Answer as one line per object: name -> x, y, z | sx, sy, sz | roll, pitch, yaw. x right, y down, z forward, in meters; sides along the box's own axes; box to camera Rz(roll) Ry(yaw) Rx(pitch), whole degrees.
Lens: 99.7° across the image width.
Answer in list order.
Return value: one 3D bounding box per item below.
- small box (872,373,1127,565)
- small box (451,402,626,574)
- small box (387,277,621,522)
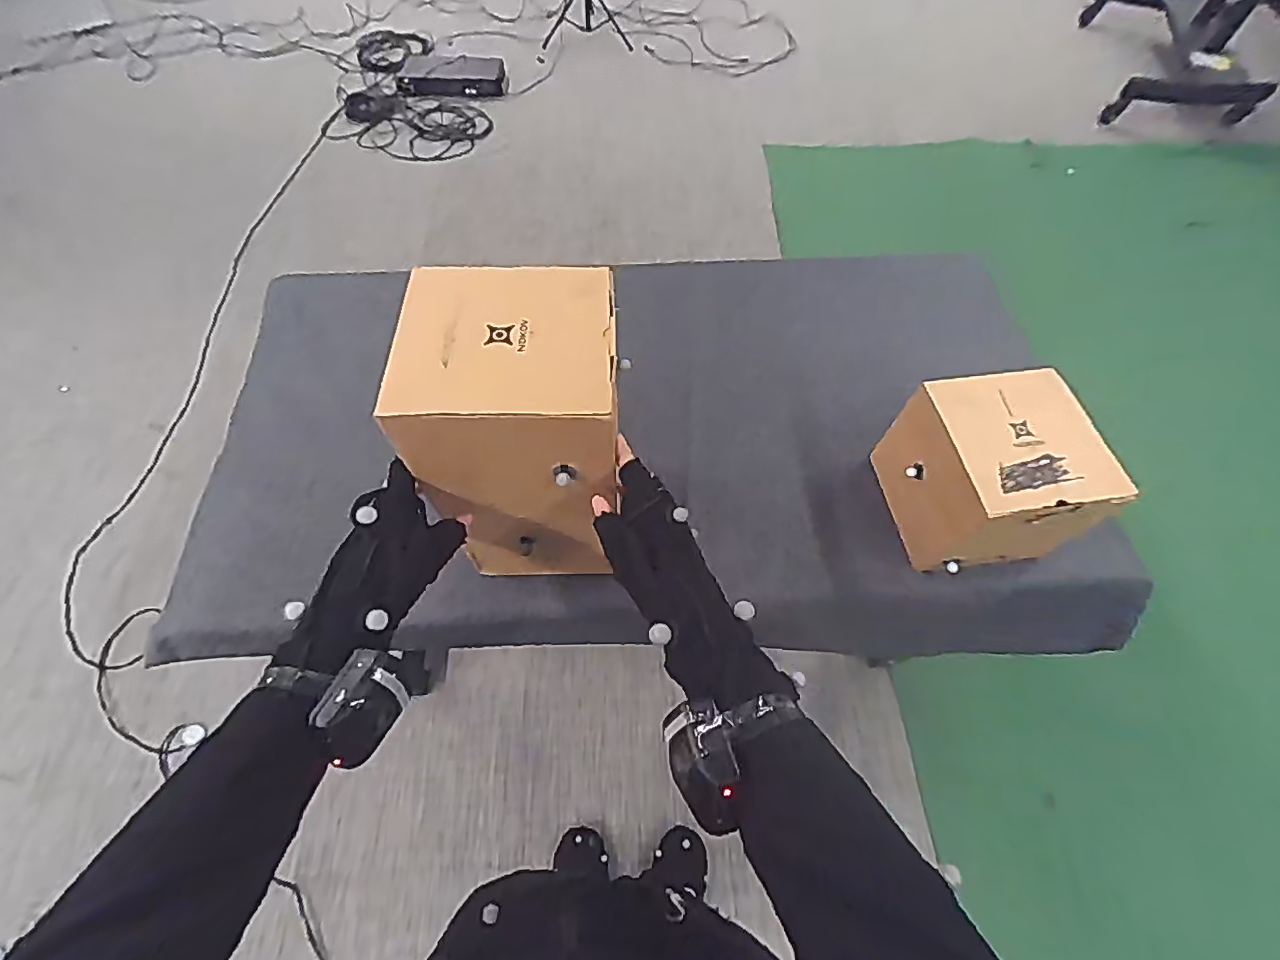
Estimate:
small box -> 0.417, -0.004, 0.667 | 0.168, 0.176, 0.179 | -7, 60, -4
small box -> -0.108, 0.009, 0.657 | 0.179, 0.176, 0.168 | -1, 60, -1
small box -> -0.106, -0.069, 0.515 | 0.179, 0.176, 0.168 | -2, 58, -1
